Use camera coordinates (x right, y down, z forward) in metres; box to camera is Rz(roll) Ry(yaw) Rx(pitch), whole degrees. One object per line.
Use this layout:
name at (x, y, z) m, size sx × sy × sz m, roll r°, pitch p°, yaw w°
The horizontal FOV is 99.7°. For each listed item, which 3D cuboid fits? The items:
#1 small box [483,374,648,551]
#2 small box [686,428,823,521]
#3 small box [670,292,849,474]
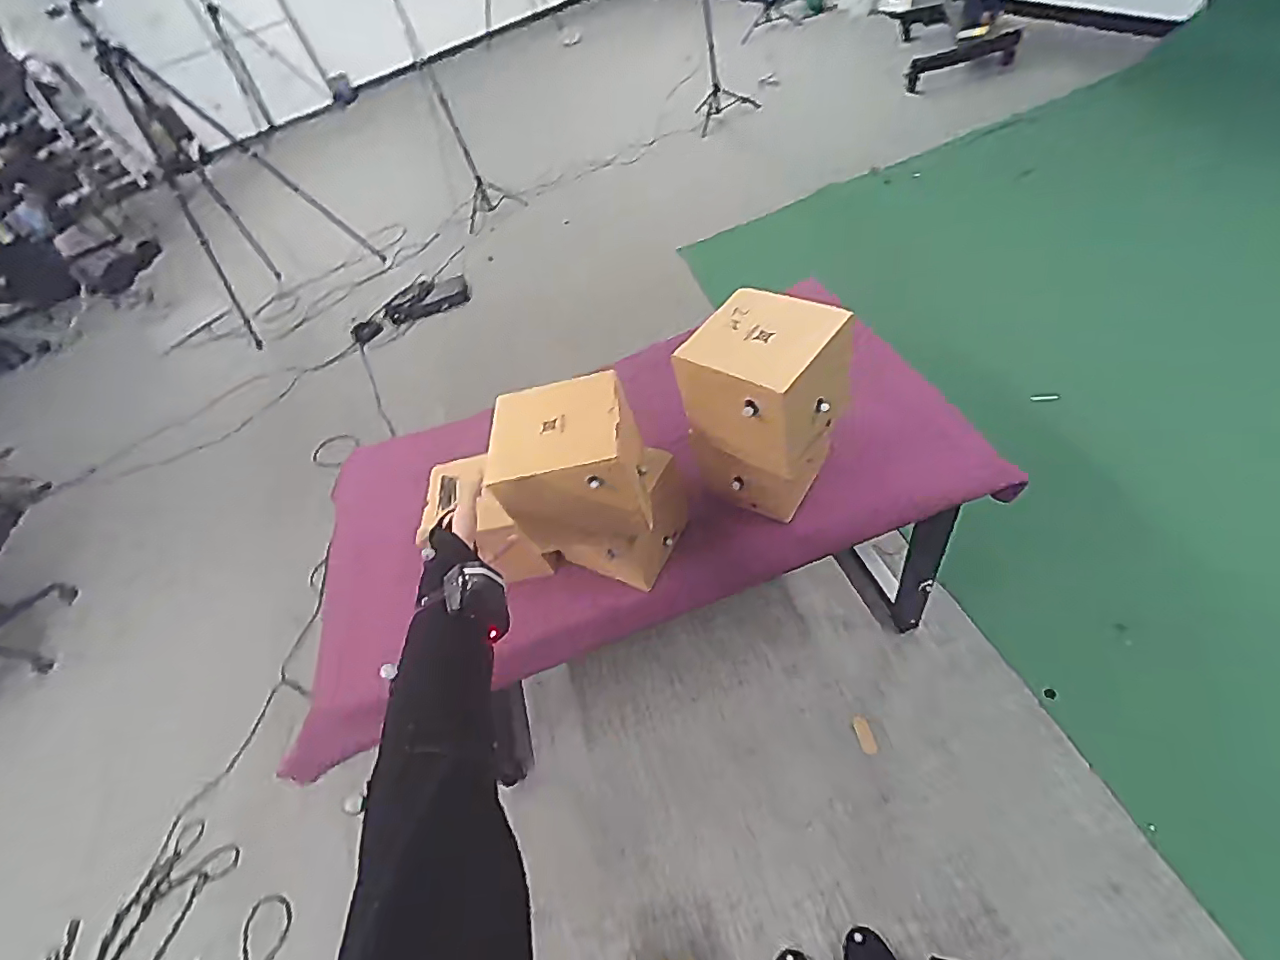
small box at (-0.095, -0.017, 0.760) m, size 0.179 × 0.176 × 0.168 m, roll -11°, pitch 49°, yaw 7°
small box at (0.203, -0.059, 0.916) m, size 0.168 × 0.176 × 0.179 m, roll 21°, pitch 61°, yaw 31°
small box at (0.174, -0.133, 0.766) m, size 0.179 × 0.176 × 0.168 m, roll 28°, pitch 64°, yaw 35°
